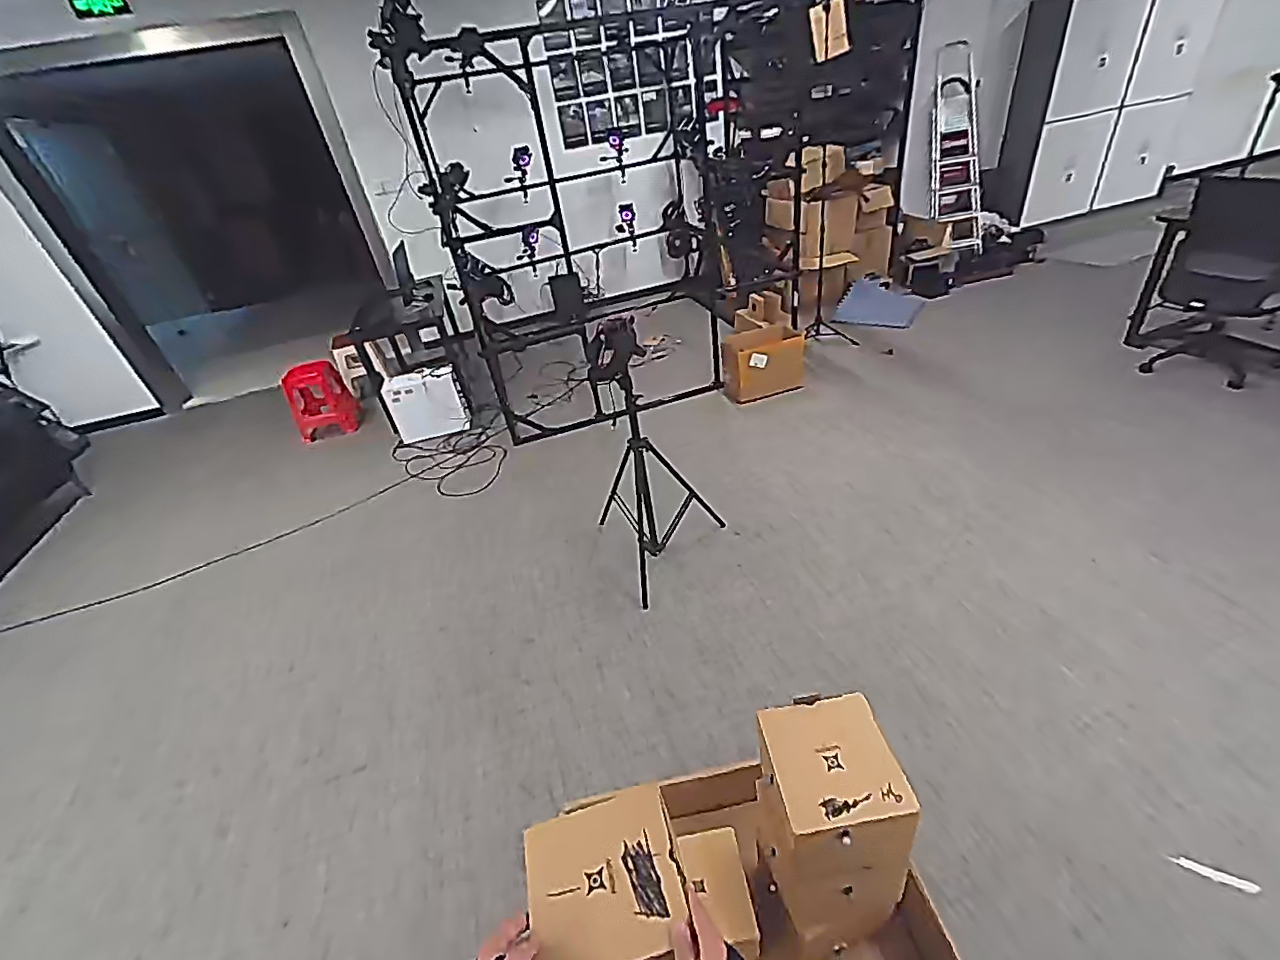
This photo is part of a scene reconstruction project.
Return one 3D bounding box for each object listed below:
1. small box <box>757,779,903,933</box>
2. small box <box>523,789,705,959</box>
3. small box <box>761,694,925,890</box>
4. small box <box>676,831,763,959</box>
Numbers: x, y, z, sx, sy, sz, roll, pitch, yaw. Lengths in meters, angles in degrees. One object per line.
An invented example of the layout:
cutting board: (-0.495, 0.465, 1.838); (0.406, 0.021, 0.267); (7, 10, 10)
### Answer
small box: (0.303, 0.581, 0.865); (0.179, 0.176, 0.168); (-14, 34, -4)
small box: (-0.028, 0.513, 0.645); (0.179, 0.176, 0.168); (-17, 34, -4)
small box: (0.277, 0.444, 0.778); (0.168, 0.176, 0.179); (-11, 33, 1)
small box: (0.109, 0.759, 0.954); (0.179, 0.176, 0.168); (-10, 34, -1)
